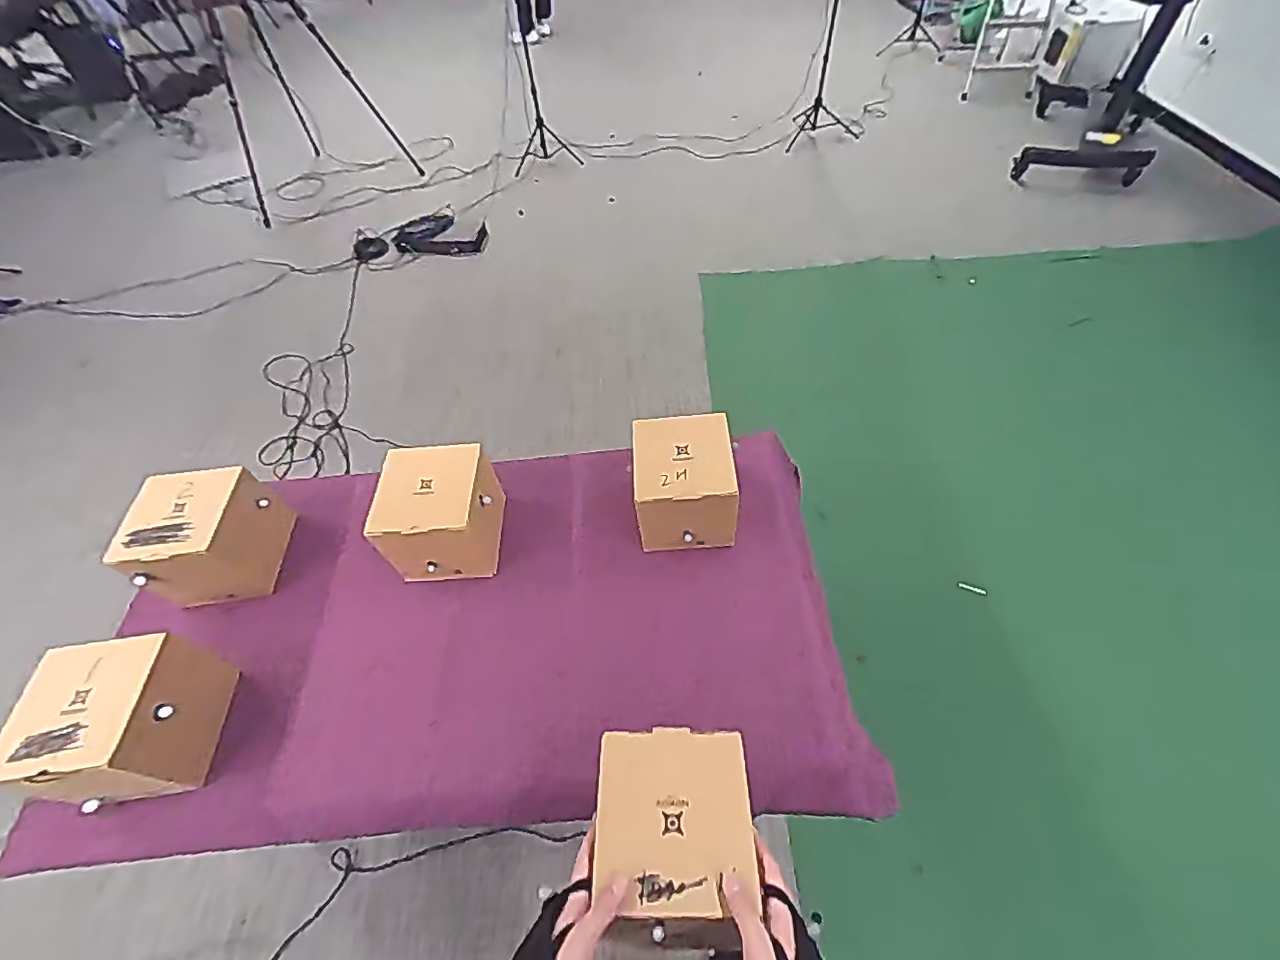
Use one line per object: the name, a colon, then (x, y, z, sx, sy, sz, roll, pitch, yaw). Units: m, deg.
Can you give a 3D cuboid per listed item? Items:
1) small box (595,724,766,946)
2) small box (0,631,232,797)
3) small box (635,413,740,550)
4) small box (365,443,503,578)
small box: (0.042, 0.408, 0.626, 0.168, 0.176, 0.179, -1, 41, 3)
small box: (-0.731, 0.337, 0.767, 0.168, 0.176, 0.179, -7, 52, -2)
small box: (0.080, 0.005, 0.955, 0.168, 0.176, 0.179, -4, 54, 4)
small box: (-0.347, 0.056, 0.953, 0.168, 0.176, 0.179, -4, 55, 1)
